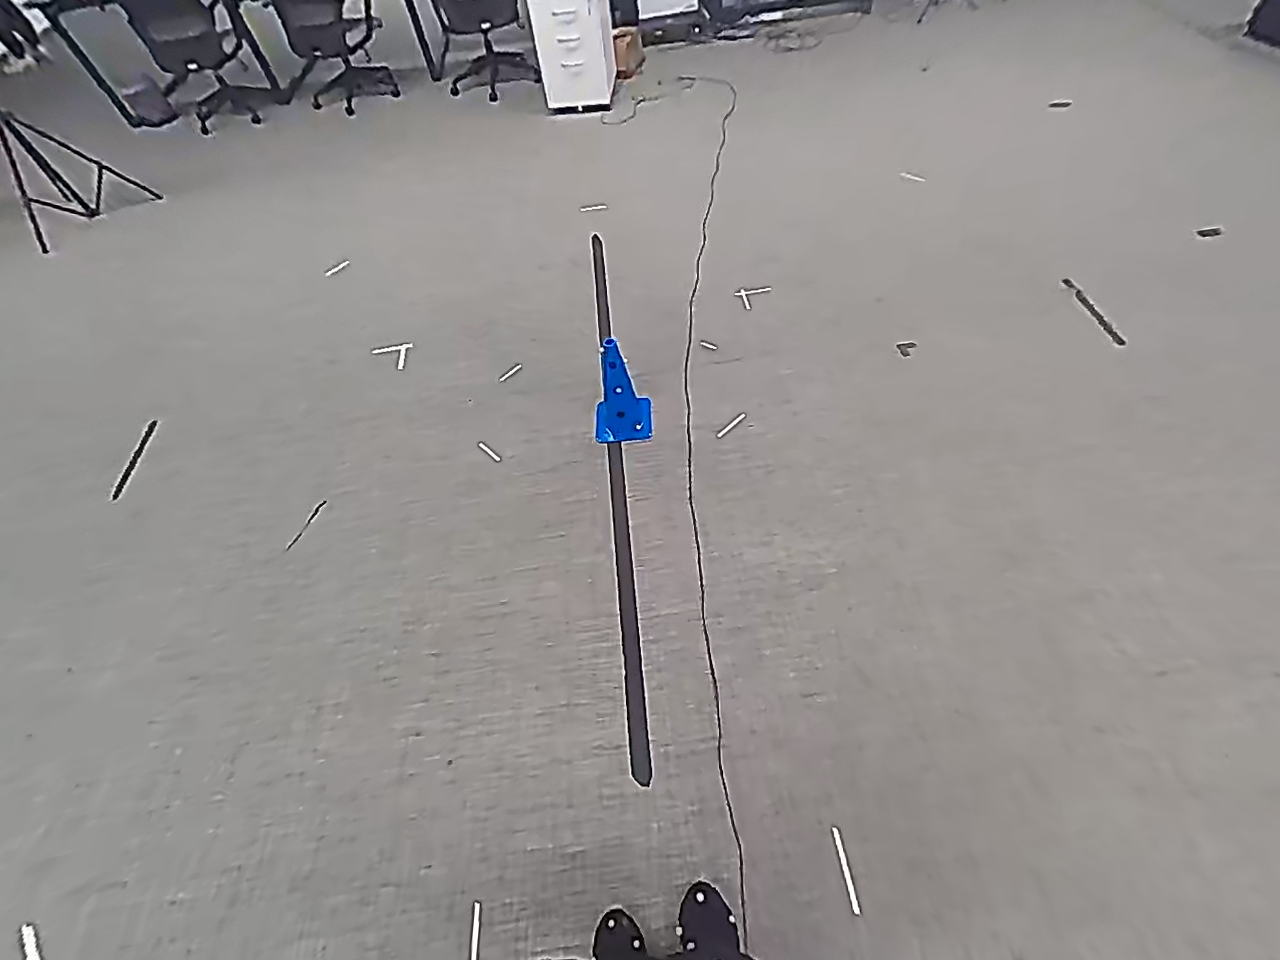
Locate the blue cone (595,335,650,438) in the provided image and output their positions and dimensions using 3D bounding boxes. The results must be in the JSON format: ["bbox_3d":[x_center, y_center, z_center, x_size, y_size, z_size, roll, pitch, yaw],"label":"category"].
[{"bbox_3d":[-0.078,-0.326,1.794,0.193,0.380,0.192,-5,54,2],"label":"blue cone"}]
